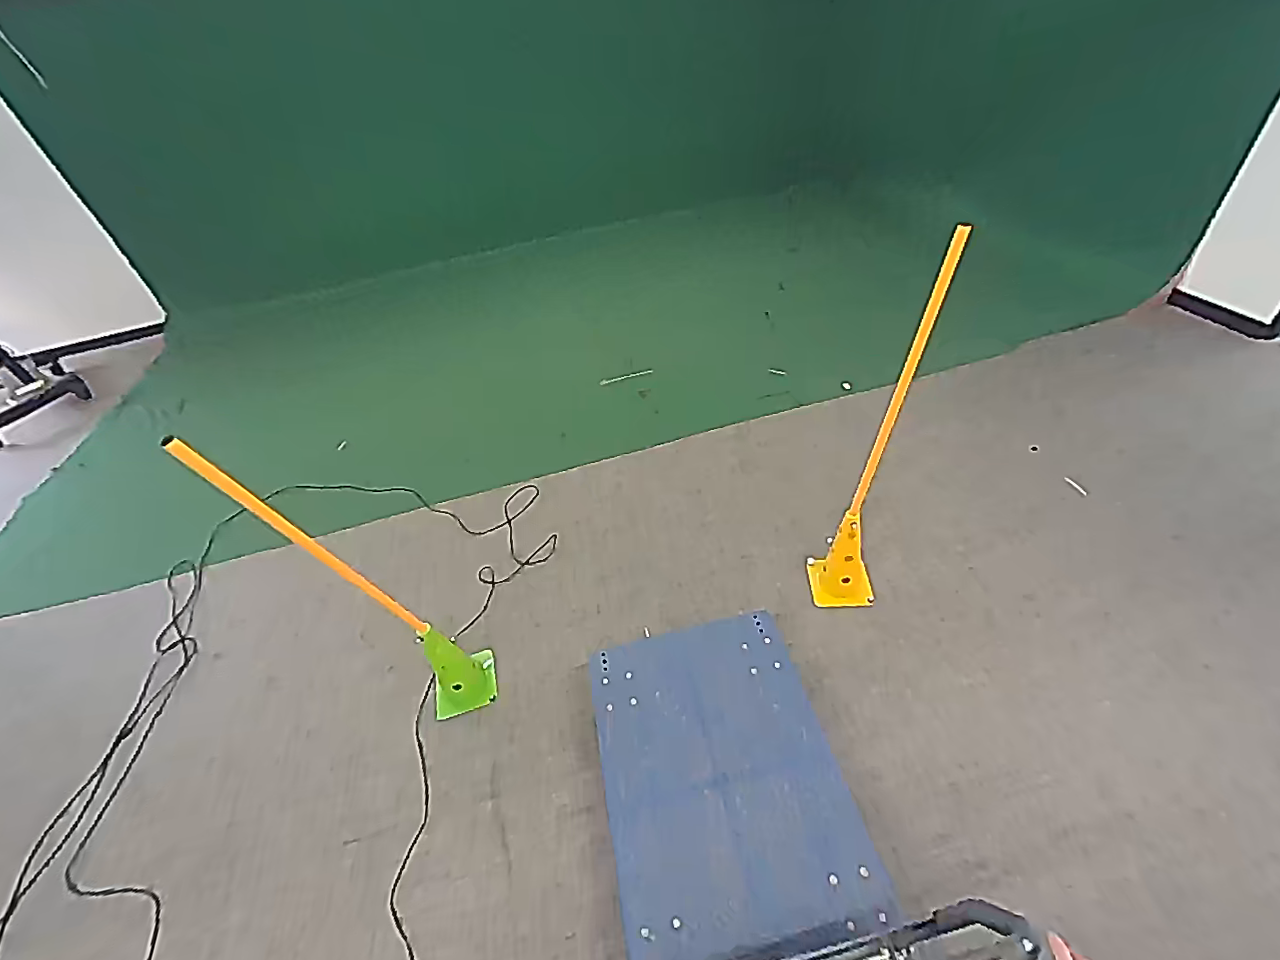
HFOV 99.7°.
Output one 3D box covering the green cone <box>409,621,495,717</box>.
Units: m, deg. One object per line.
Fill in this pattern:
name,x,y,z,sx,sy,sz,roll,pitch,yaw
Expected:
green cone,-0.617,0.548,1.689,0.202,0.368,0.200,-19,43,-7
